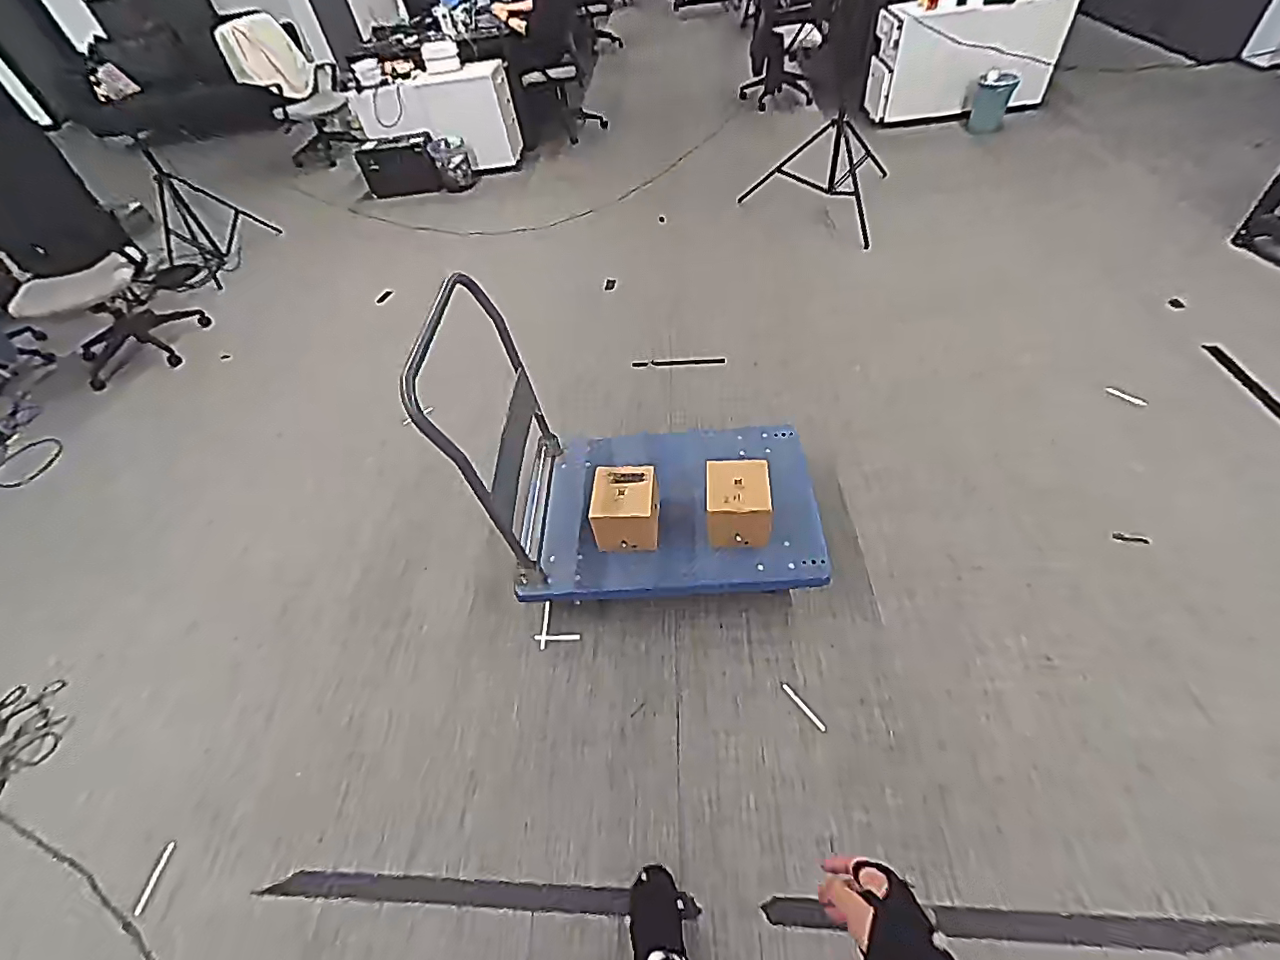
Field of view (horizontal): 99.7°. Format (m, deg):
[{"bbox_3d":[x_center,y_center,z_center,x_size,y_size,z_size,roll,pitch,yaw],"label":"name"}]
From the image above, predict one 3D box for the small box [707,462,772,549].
[{"bbox_3d":[0.270,0.071,1.488,0.168,0.176,0.179,-2,49,9],"label":"small box"}]
